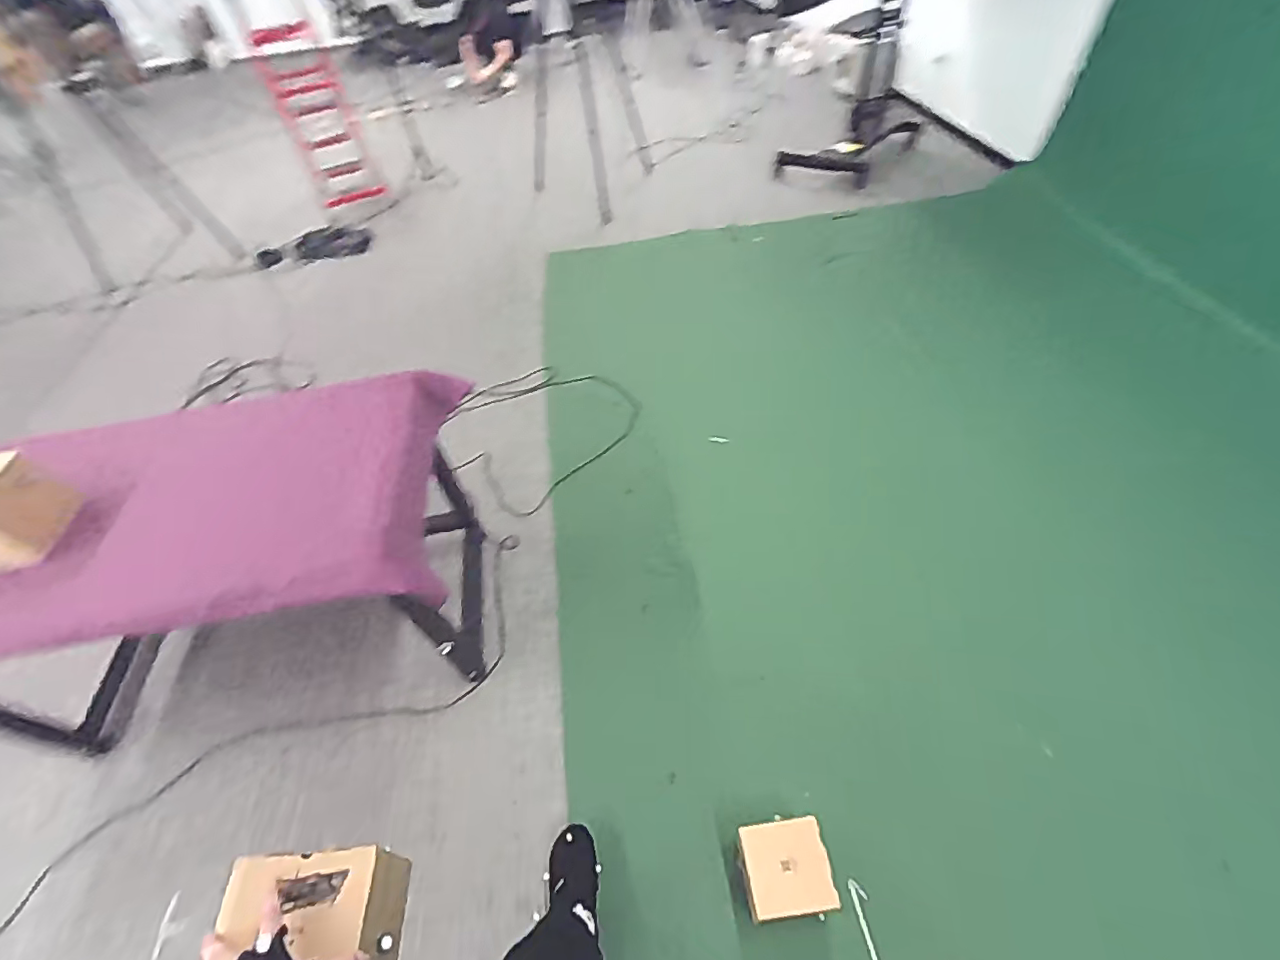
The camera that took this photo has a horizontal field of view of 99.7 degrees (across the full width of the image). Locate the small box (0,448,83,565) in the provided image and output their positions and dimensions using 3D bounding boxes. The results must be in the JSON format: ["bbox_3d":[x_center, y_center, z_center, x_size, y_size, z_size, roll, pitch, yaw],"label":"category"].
[{"bbox_3d":[-1.348,0.060,1.134,0.168,0.176,0.179,-9,50,-1],"label":"small box"}]

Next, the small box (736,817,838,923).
[{"bbox_3d":[0.318,0.878,1.213,0.179,0.176,0.168,-8,49,-1],"label":"small box"}]

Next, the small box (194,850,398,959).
[{"bbox_3d":[-0.413,0.575,0.663,0.168,0.176,0.179,-2,51,-6],"label":"small box"}]
